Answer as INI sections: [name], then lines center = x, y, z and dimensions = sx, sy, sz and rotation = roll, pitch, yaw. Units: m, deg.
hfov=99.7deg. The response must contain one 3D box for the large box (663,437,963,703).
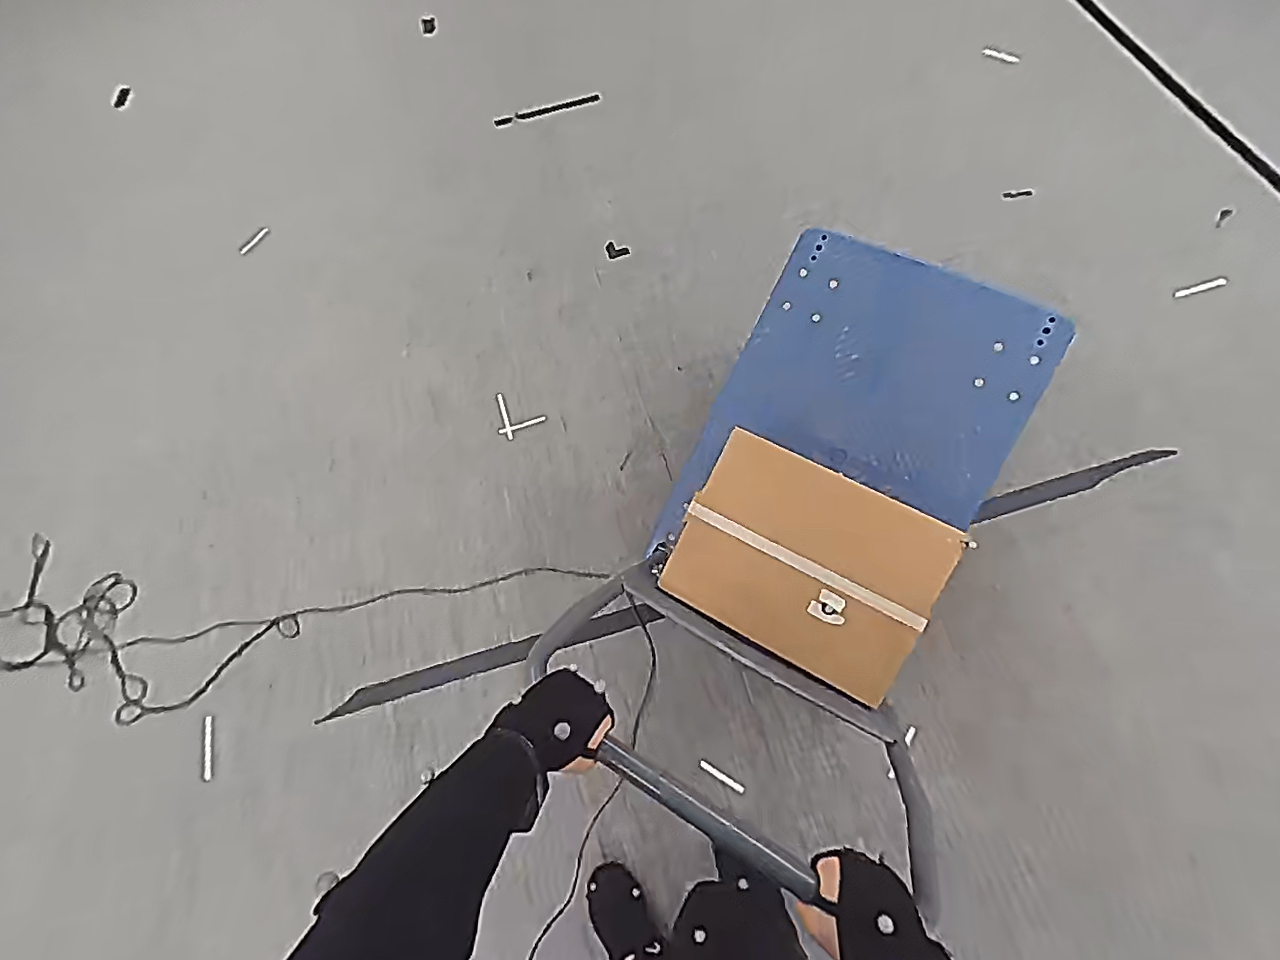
[large box]
center = 0.308, 0.147, 1.050
dimensions = 0.408, 0.320, 0.320
rotation = 27, 96, 13
